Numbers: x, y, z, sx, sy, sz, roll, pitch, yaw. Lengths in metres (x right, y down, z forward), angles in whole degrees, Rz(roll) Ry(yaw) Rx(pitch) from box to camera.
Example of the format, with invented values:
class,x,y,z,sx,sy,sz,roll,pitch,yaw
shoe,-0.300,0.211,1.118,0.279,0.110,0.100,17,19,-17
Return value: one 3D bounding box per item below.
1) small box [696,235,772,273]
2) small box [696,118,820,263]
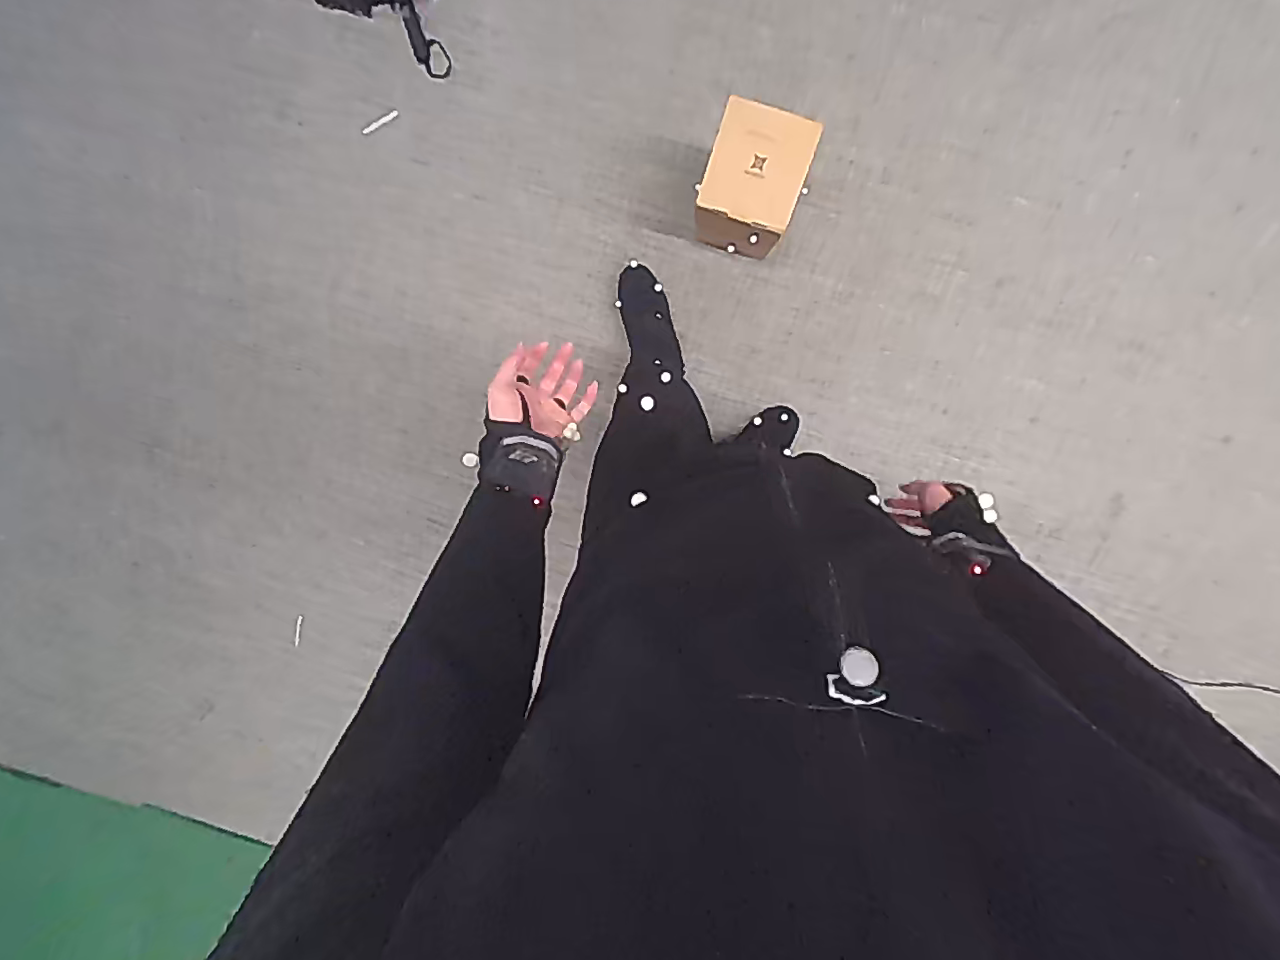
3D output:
class,x,y,z,sx,sy,sz,roll,pitch,yaw
small box,0.227,-0.560,1.162,0.168,0.176,0.179,18,105,2
small box,0.208,-0.522,1.003,0.168,0.176,0.179,18,103,0
